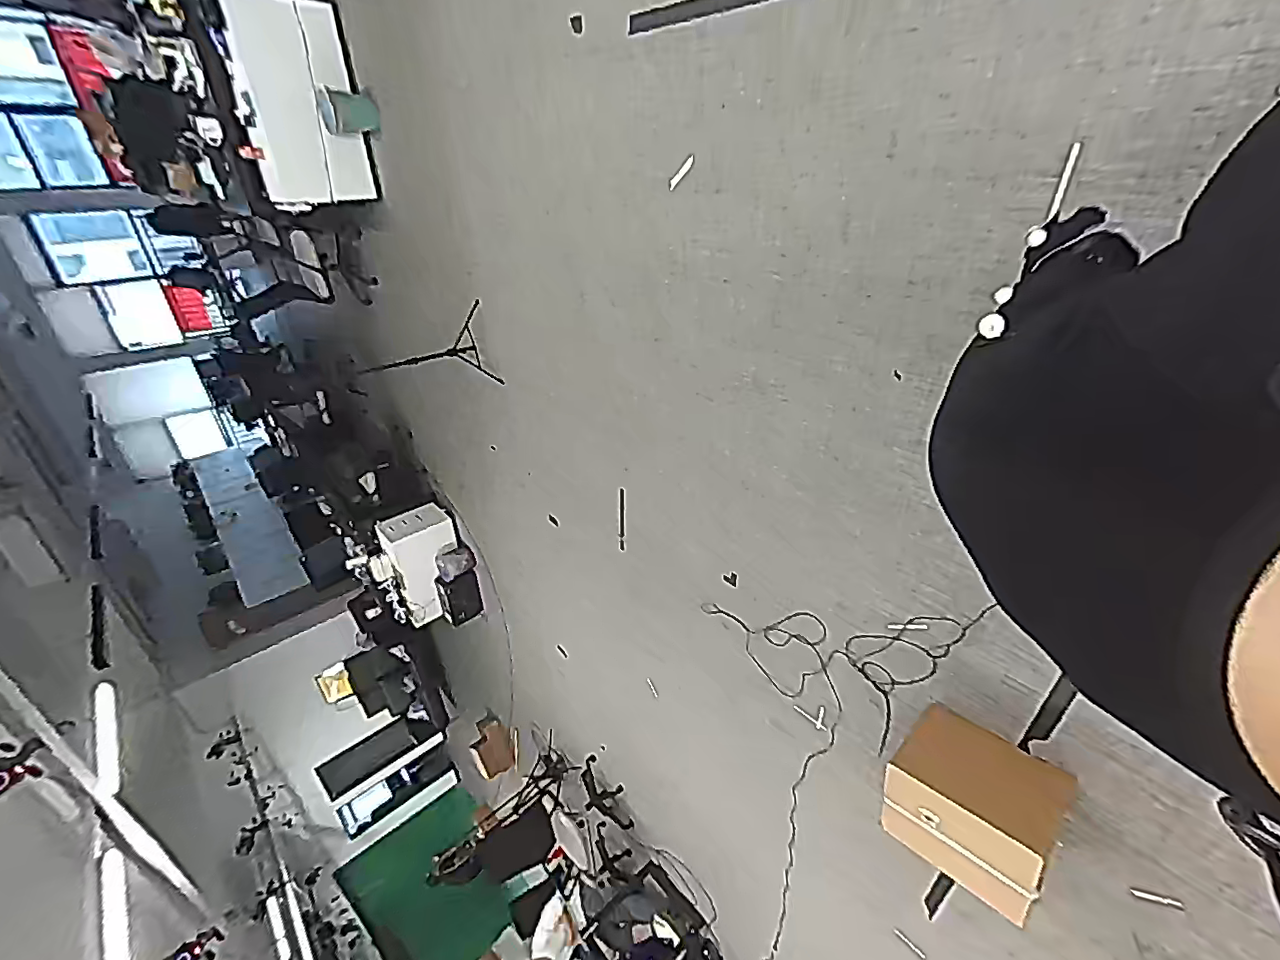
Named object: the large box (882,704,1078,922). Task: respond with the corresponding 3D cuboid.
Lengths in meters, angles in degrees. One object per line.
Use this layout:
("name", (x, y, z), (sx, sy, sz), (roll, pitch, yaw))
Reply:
("large box", (1.008, 0.972, 1.630), (0.408, 0.320, 0.320), (21, 126, 45))
